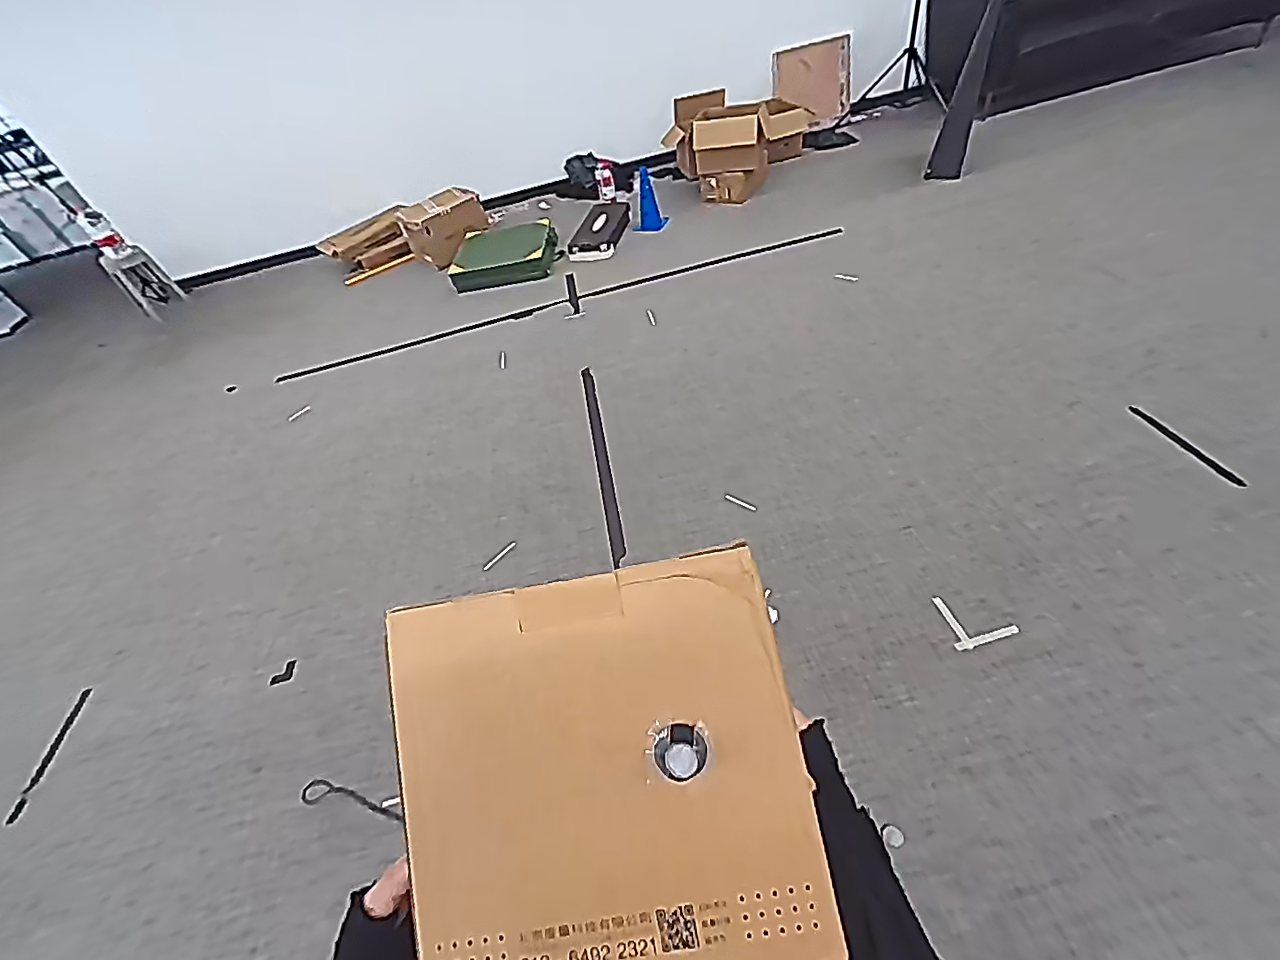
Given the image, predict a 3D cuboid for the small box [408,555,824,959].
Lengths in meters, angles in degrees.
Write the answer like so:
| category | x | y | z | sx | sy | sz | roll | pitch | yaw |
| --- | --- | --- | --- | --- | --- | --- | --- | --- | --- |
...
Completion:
| category | x | y | z | sx | sy | sz | roll | pitch | yaw |
| --- | --- | --- | --- | --- | --- | --- | --- | --- | --- |
| small box | -0.007 | 0.144 | 0.317 | 0.168 | 0.179 | 0.176 | -11 | 80 | 4 |
